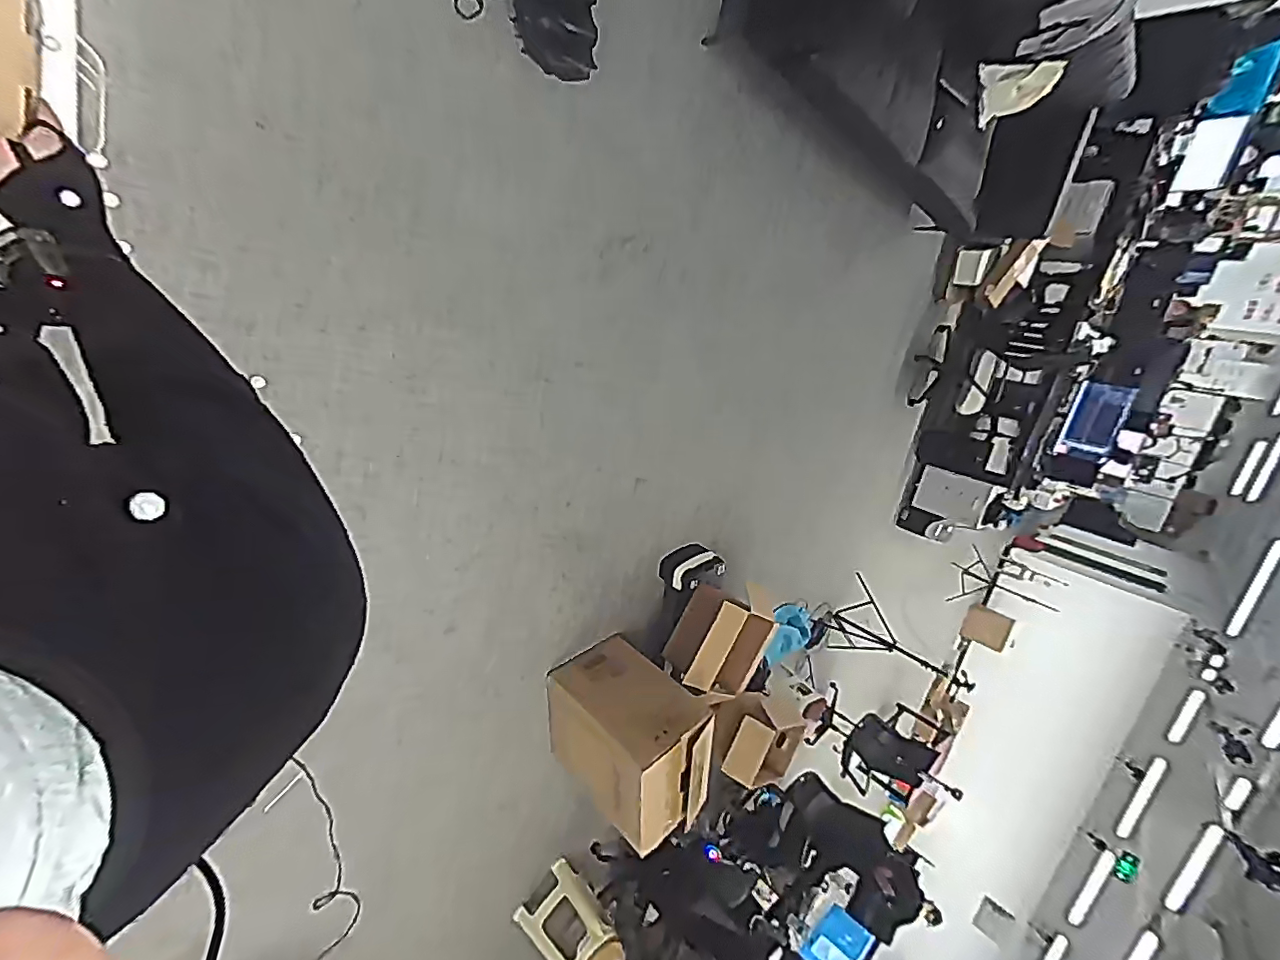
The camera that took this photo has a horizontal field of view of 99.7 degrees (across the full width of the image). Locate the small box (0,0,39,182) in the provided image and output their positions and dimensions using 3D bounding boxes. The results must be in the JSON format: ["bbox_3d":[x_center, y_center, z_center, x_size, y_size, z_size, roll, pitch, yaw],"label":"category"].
[{"bbox_3d":[-0.661,-0.379,0.474,0.179,0.176,0.168,0,107,-44],"label":"small box"}]
